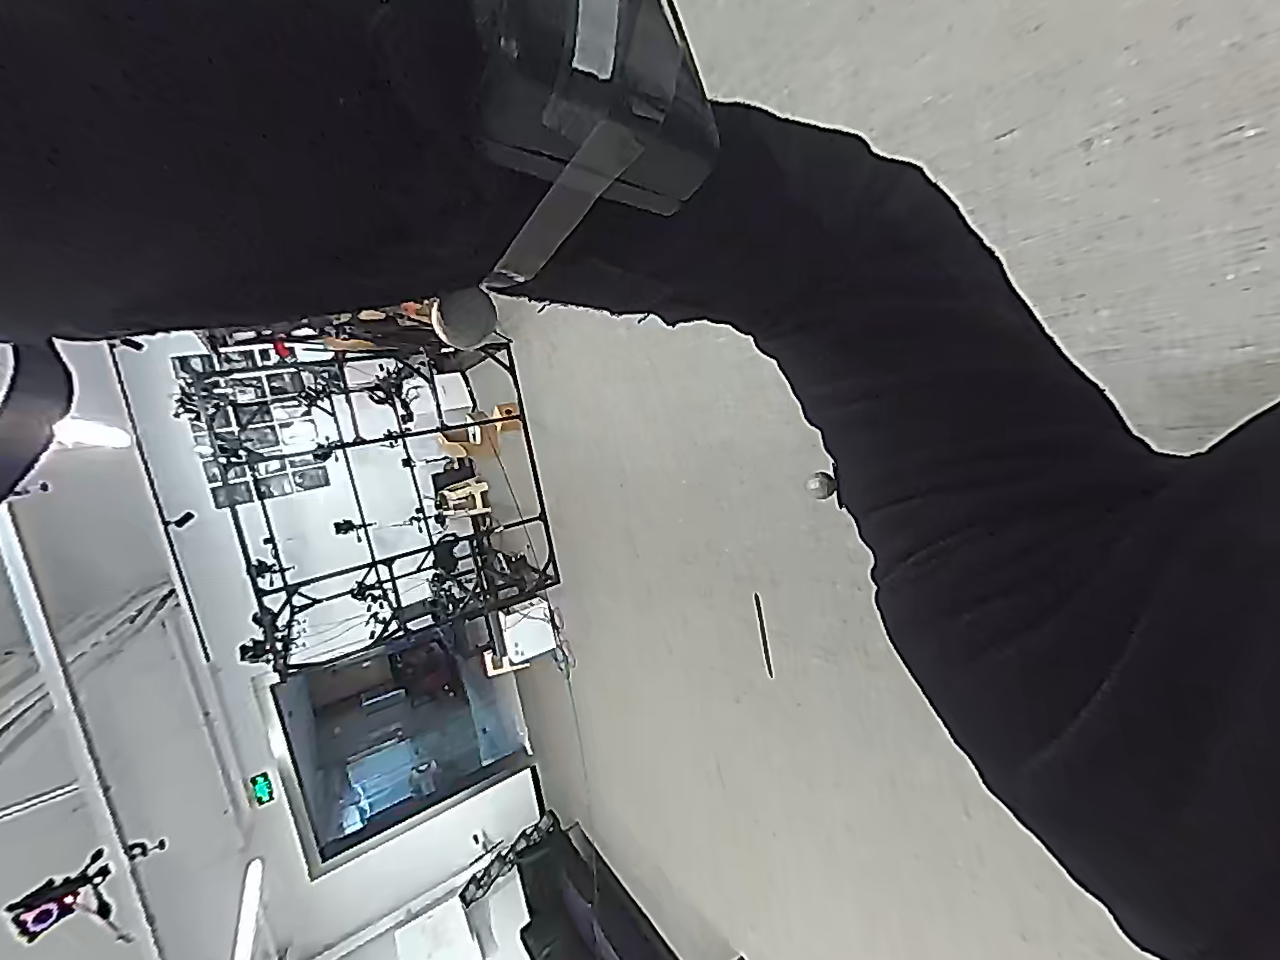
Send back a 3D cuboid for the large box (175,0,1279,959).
[{"bbox_3d":[0.125,0.065,0.155,0.408,0.320,0.320,11,-116,54],"label":"large box"}]
